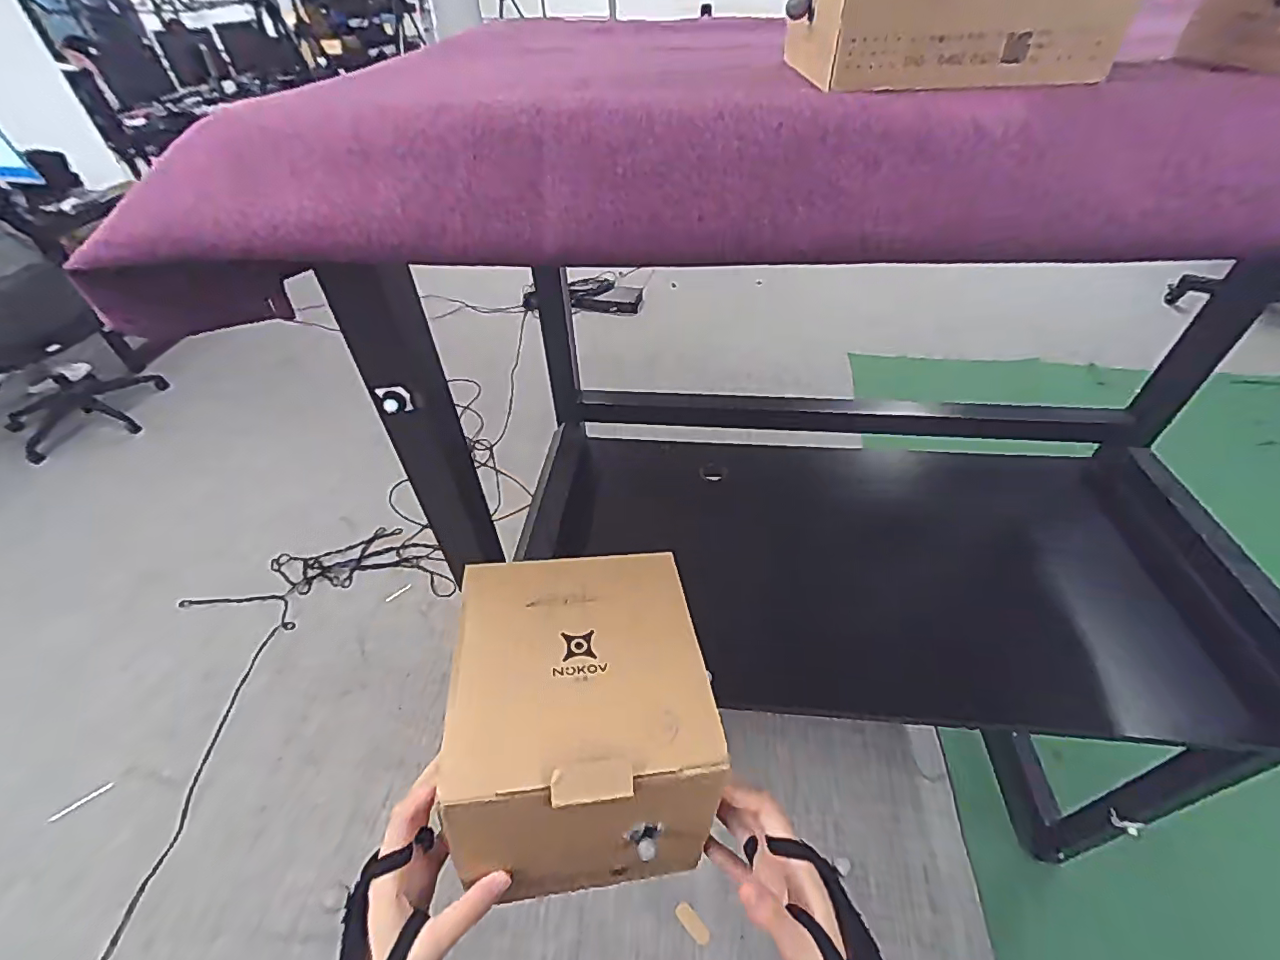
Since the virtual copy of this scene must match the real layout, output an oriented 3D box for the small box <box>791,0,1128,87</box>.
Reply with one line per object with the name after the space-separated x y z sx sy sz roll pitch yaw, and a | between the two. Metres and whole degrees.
0.199 -0.356 0.334 0.168 0.176 0.179 1 43 3 | small box
